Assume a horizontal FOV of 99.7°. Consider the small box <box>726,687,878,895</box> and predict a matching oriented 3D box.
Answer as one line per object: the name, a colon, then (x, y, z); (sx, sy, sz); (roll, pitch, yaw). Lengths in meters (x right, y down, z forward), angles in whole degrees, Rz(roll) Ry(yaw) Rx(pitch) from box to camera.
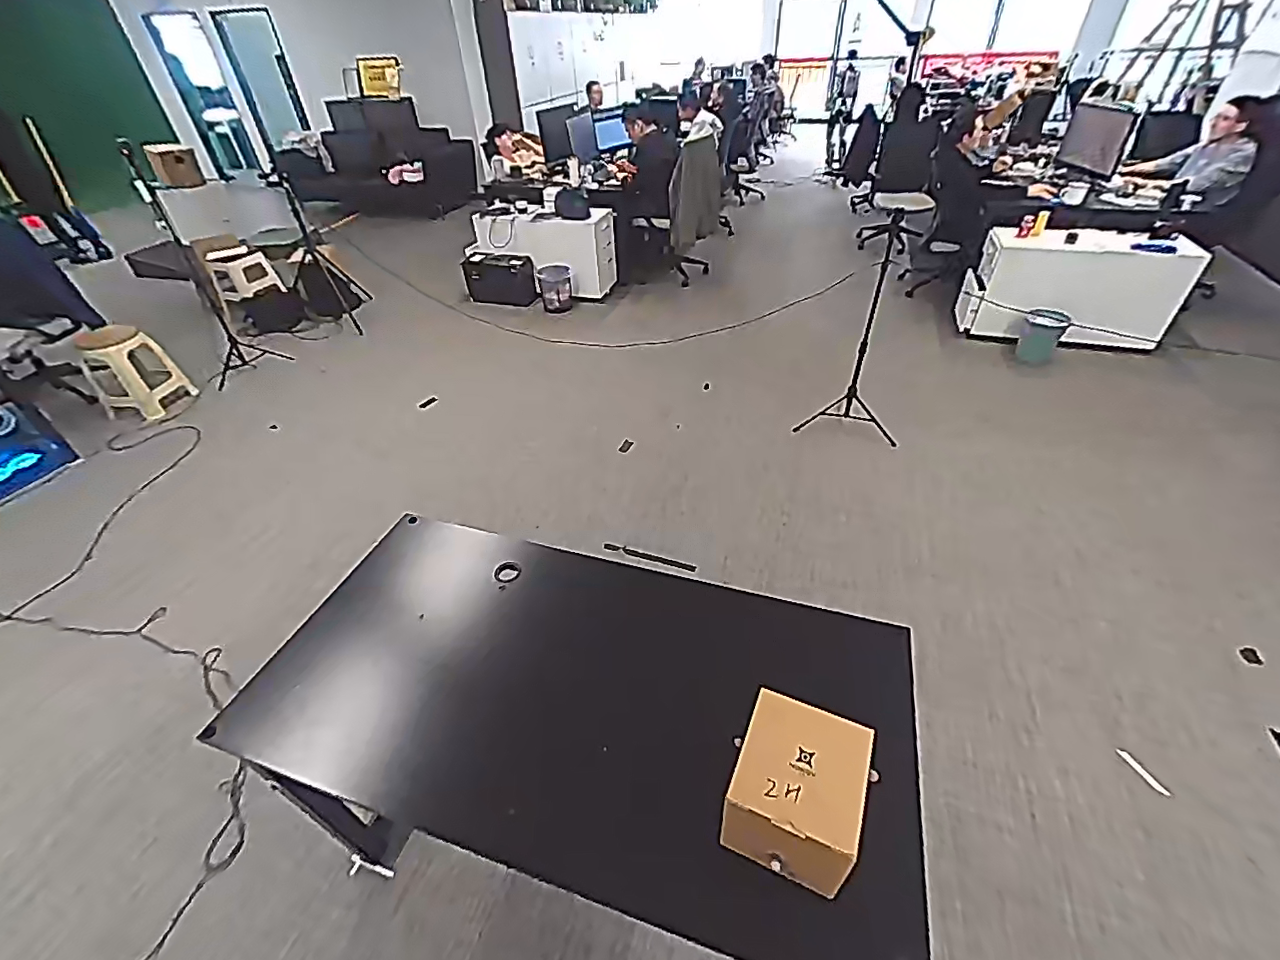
small box: (0.227, 0.443, 0.779); (0.168, 0.176, 0.179); (15, 43, 22)
